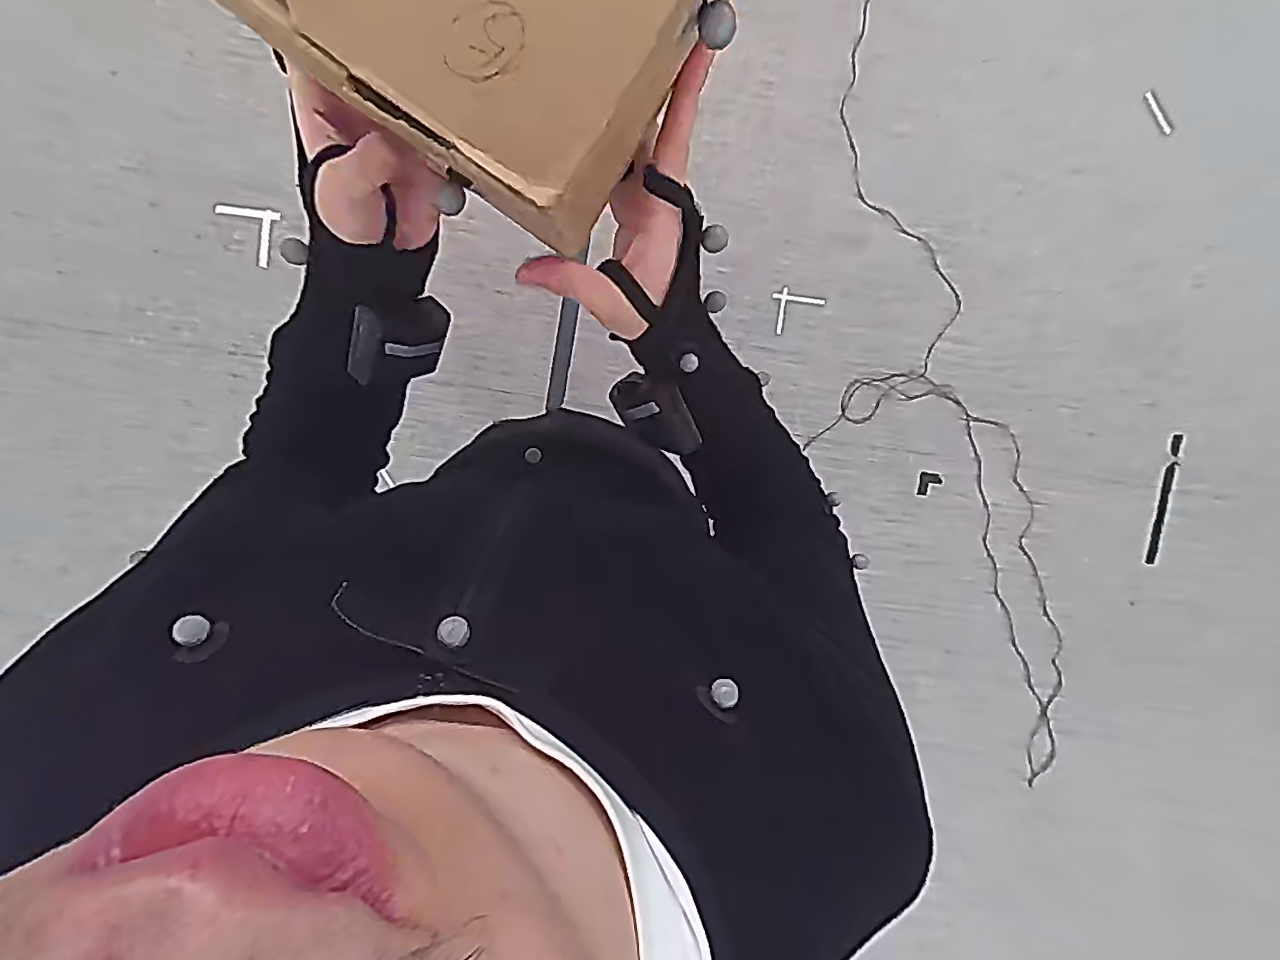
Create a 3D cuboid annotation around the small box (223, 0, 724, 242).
[{"bbox_3d":[-0.052,-0.214,0.201,0.168,0.176,0.179,31,103,-15],"label":"small box"}]
